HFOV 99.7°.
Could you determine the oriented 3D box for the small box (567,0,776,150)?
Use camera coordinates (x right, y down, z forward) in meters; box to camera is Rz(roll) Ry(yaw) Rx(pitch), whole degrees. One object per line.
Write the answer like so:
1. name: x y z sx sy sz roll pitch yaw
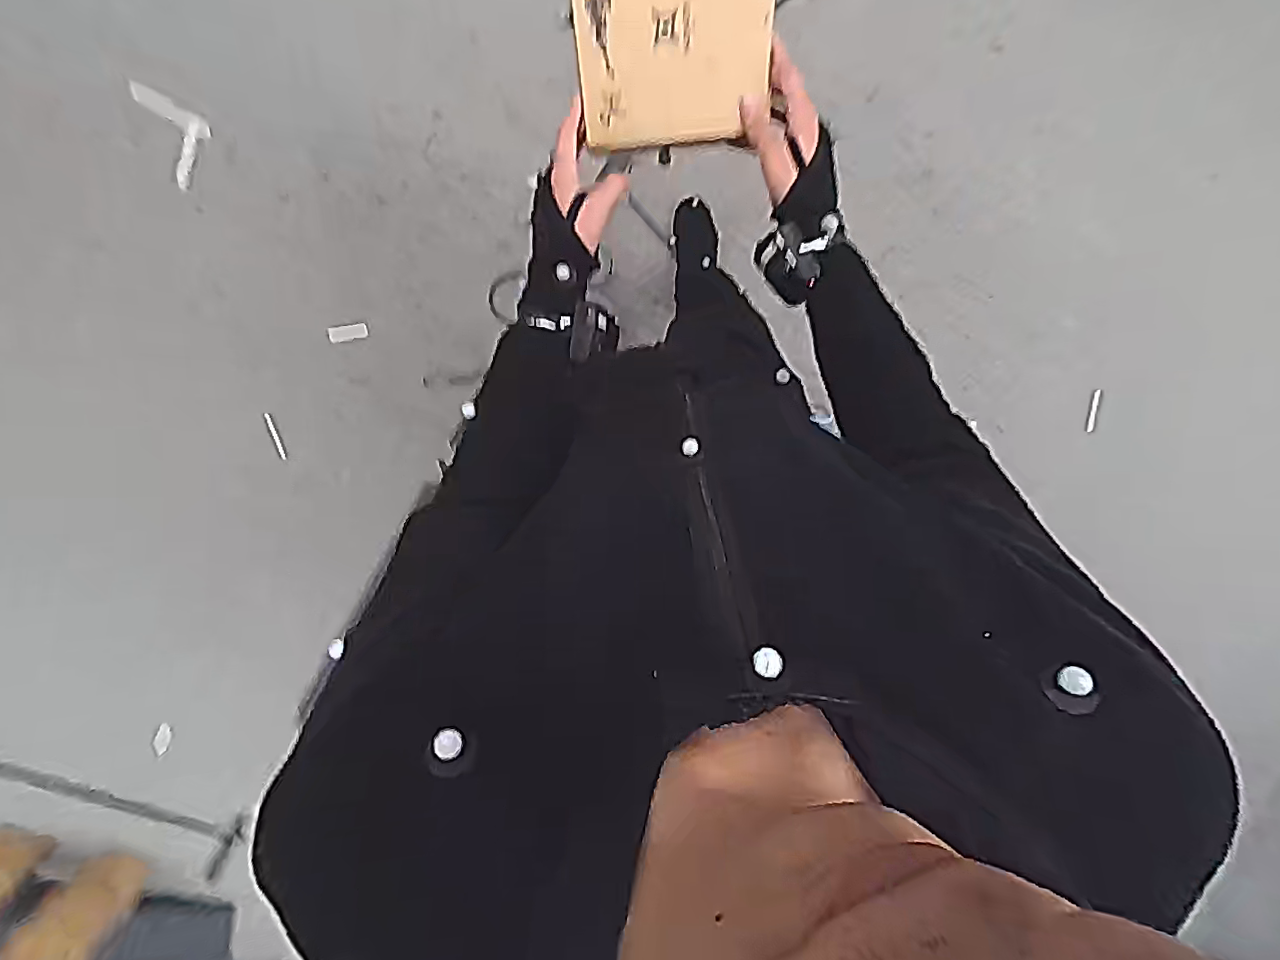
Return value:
1. small box: 0.023 -0.429 0.529 0.179 0.176 0.168 -7 119 -2
